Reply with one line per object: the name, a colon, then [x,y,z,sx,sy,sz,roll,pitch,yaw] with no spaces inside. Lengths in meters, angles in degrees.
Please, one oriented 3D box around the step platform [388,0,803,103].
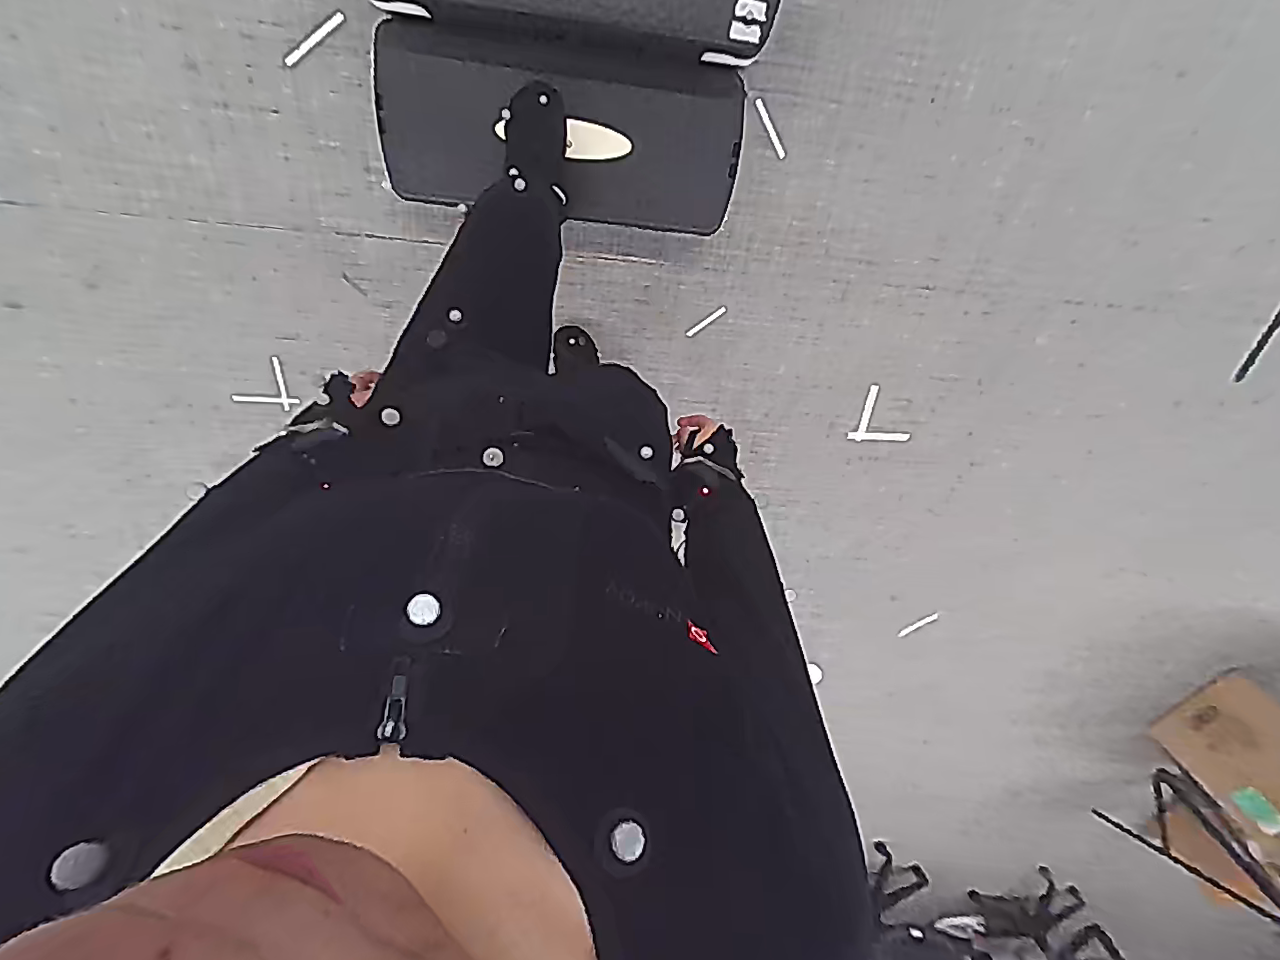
step platform: [-0.070,-0.850,0.872,0.684,0.204,0.286,7,119,-9]
